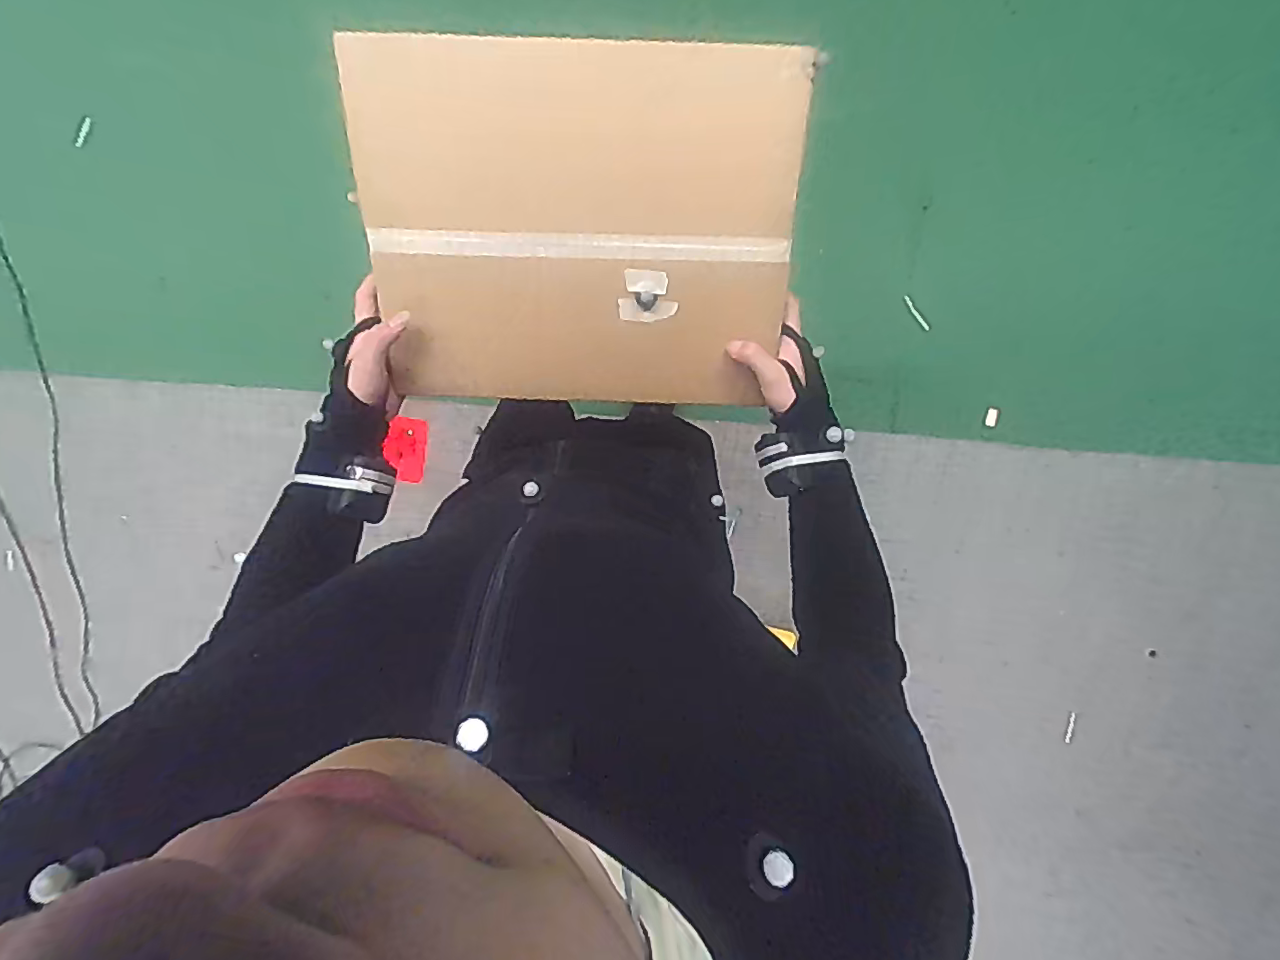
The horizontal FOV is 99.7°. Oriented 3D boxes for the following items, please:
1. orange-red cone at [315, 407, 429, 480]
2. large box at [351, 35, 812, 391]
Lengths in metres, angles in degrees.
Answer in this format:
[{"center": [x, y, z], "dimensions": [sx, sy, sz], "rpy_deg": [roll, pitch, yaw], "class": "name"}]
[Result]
[{"center": [-0.756, -0.081, 1.468], "dimensions": [0.199, 0.360, 0.198], "rpy_deg": [12, 100, 1], "class": "orange-red cone"}, {"center": [-0.053, -0.301, 0.658], "dimensions": [0.408, 0.320, 0.320], "rpy_deg": [1, 117, -1], "class": "large box"}]
